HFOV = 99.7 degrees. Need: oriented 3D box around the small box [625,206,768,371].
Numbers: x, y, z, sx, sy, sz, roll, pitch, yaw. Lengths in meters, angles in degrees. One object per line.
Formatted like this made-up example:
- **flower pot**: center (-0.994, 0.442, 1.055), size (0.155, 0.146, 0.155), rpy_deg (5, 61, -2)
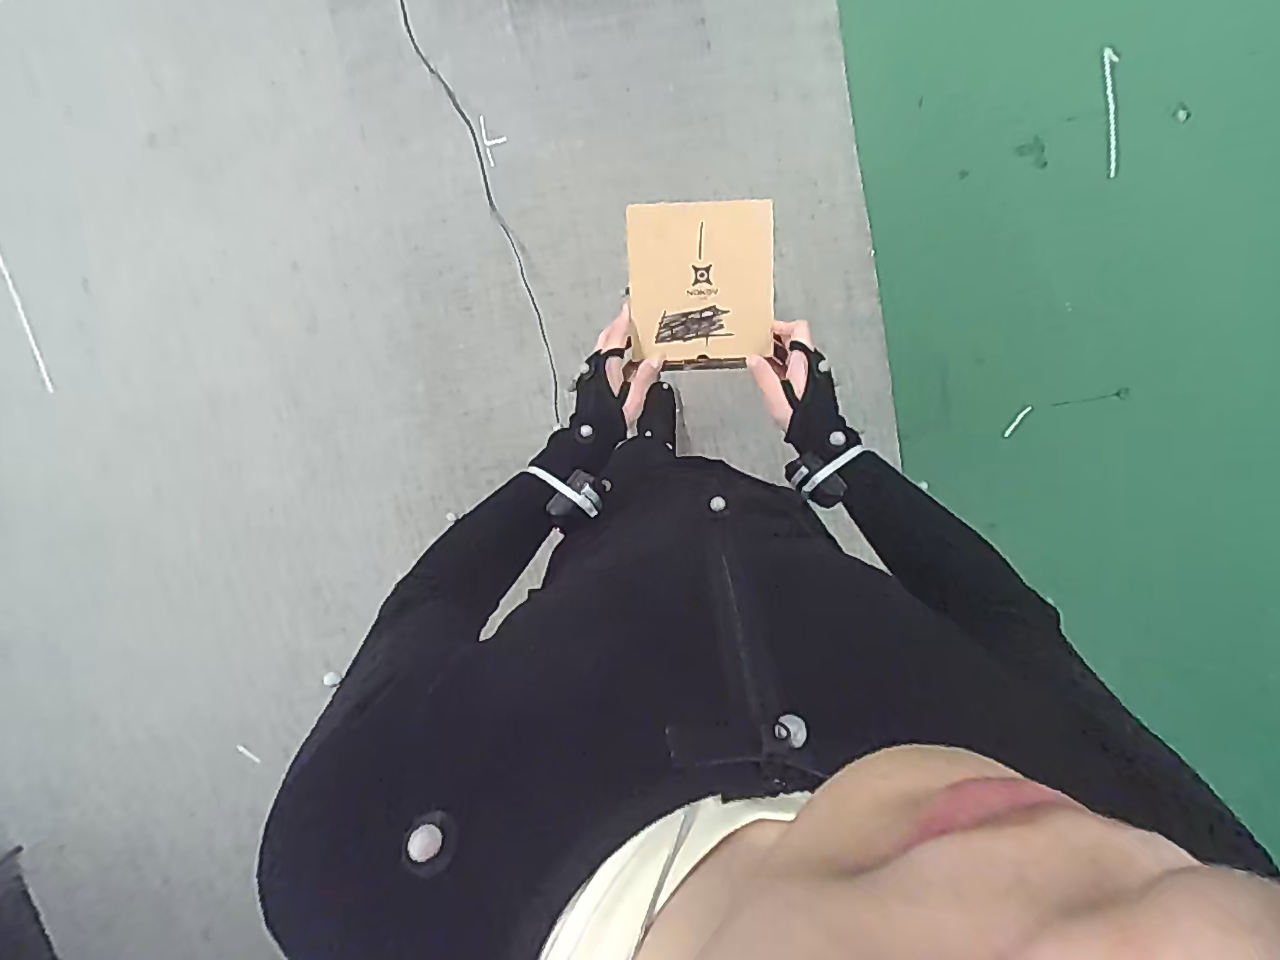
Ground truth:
- **small box**: center (0.068, -0.236, 0.709), size (0.168, 0.176, 0.179), rpy_deg (-3, 97, 0)
